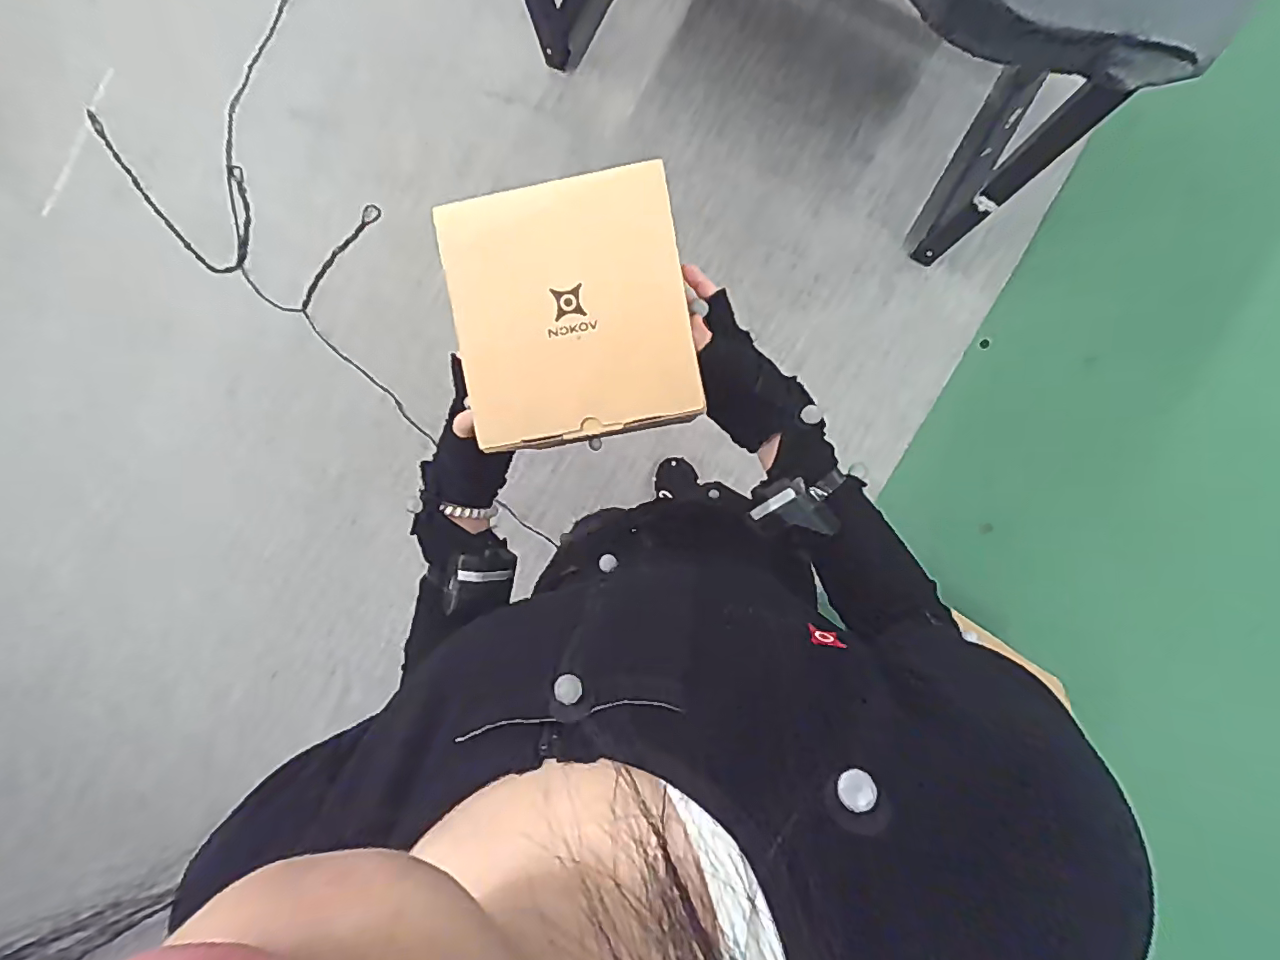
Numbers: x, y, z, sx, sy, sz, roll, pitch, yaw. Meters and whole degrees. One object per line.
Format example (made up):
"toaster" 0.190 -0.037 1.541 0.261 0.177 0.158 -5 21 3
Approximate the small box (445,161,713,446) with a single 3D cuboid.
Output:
"small box" -0.041 -0.128 0.459 0.168 0.176 0.179 -11 96 2
